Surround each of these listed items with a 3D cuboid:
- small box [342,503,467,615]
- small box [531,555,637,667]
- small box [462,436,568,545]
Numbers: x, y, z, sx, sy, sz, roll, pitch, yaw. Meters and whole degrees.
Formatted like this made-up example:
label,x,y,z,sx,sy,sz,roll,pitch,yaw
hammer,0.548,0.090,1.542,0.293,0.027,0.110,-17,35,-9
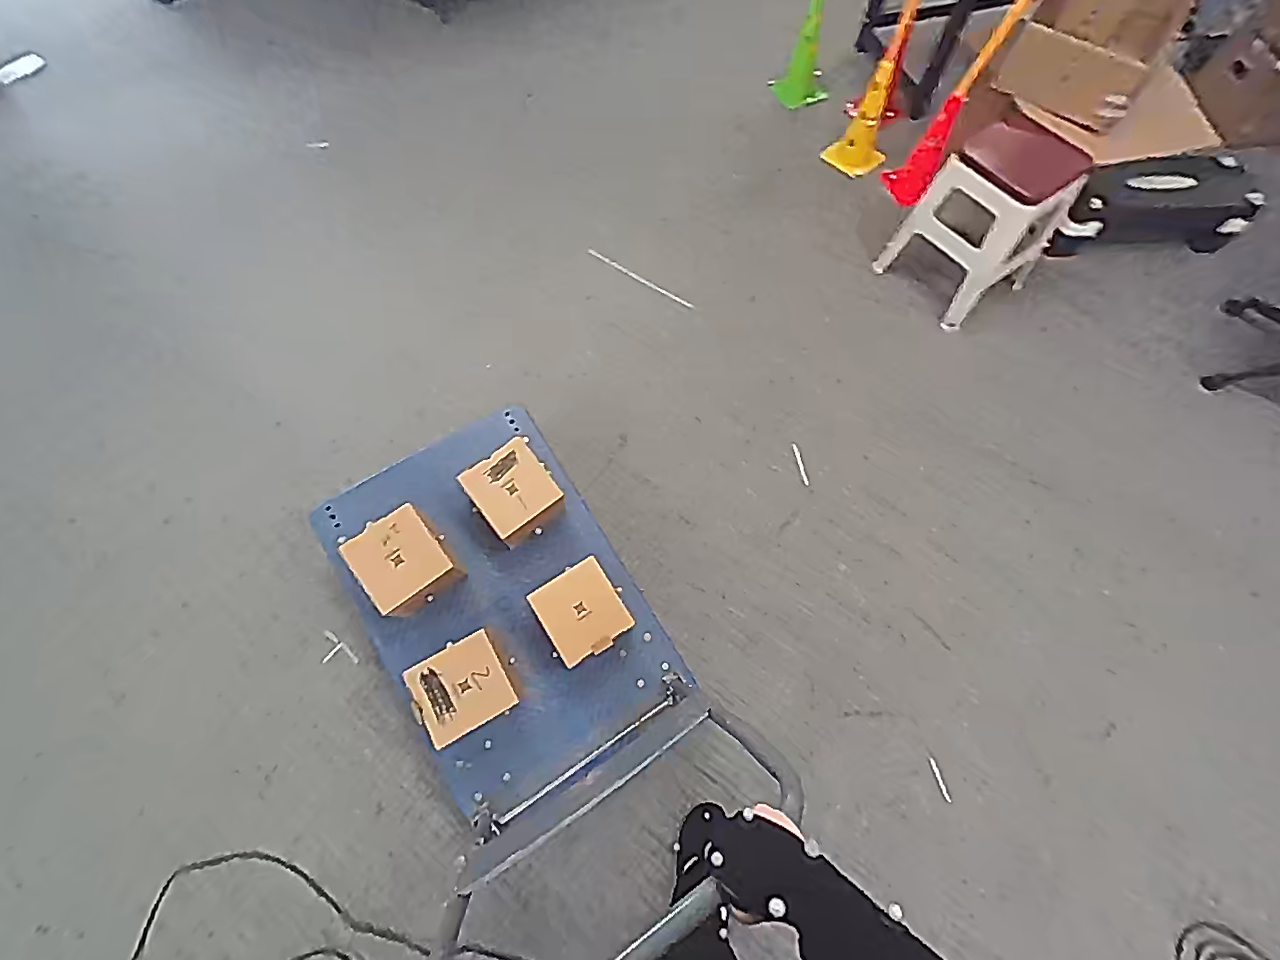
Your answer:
label,x,y,z,sx,sy,sz,roll,pitch,yaw
small box,-0.506,0.178,1.190,0.168,0.176,0.179,-35,81,-15
small box,-0.127,0.292,1.203,0.168,0.176,0.179,-31,81,-13
small box,-0.284,0.033,1.255,0.168,0.176,0.179,-36,82,-14
